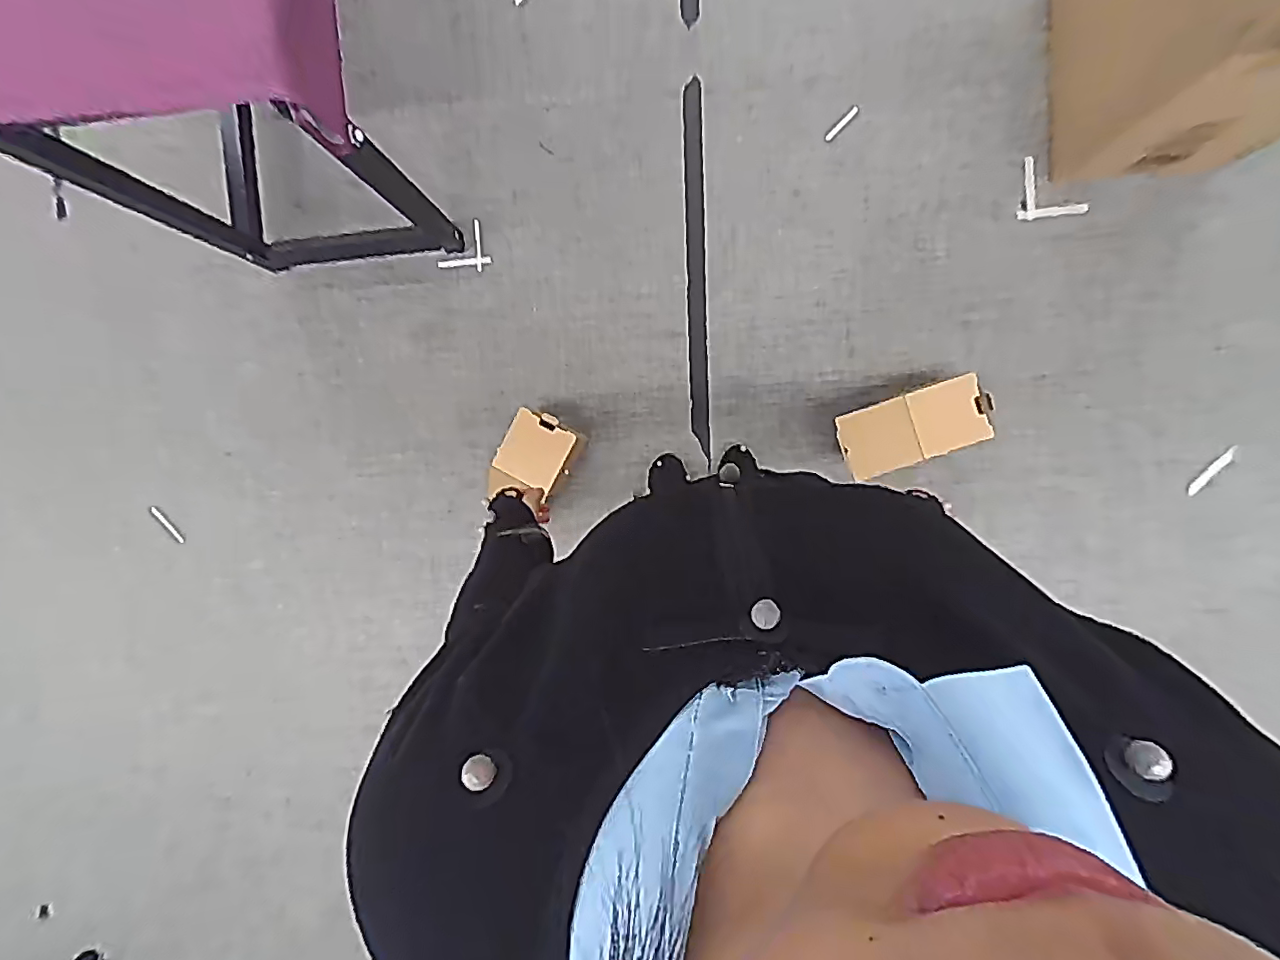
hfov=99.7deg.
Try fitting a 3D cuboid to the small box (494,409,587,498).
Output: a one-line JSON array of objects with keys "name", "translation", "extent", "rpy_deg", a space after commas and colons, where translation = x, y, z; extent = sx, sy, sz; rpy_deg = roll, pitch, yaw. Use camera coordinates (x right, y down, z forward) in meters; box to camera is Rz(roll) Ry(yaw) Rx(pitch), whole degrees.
[{"name": "small box", "translation": [-0.256, -0.071, 1.446], "extent": [0.168, 0.176, 0.179], "rpy_deg": [28, 94, 2]}]
